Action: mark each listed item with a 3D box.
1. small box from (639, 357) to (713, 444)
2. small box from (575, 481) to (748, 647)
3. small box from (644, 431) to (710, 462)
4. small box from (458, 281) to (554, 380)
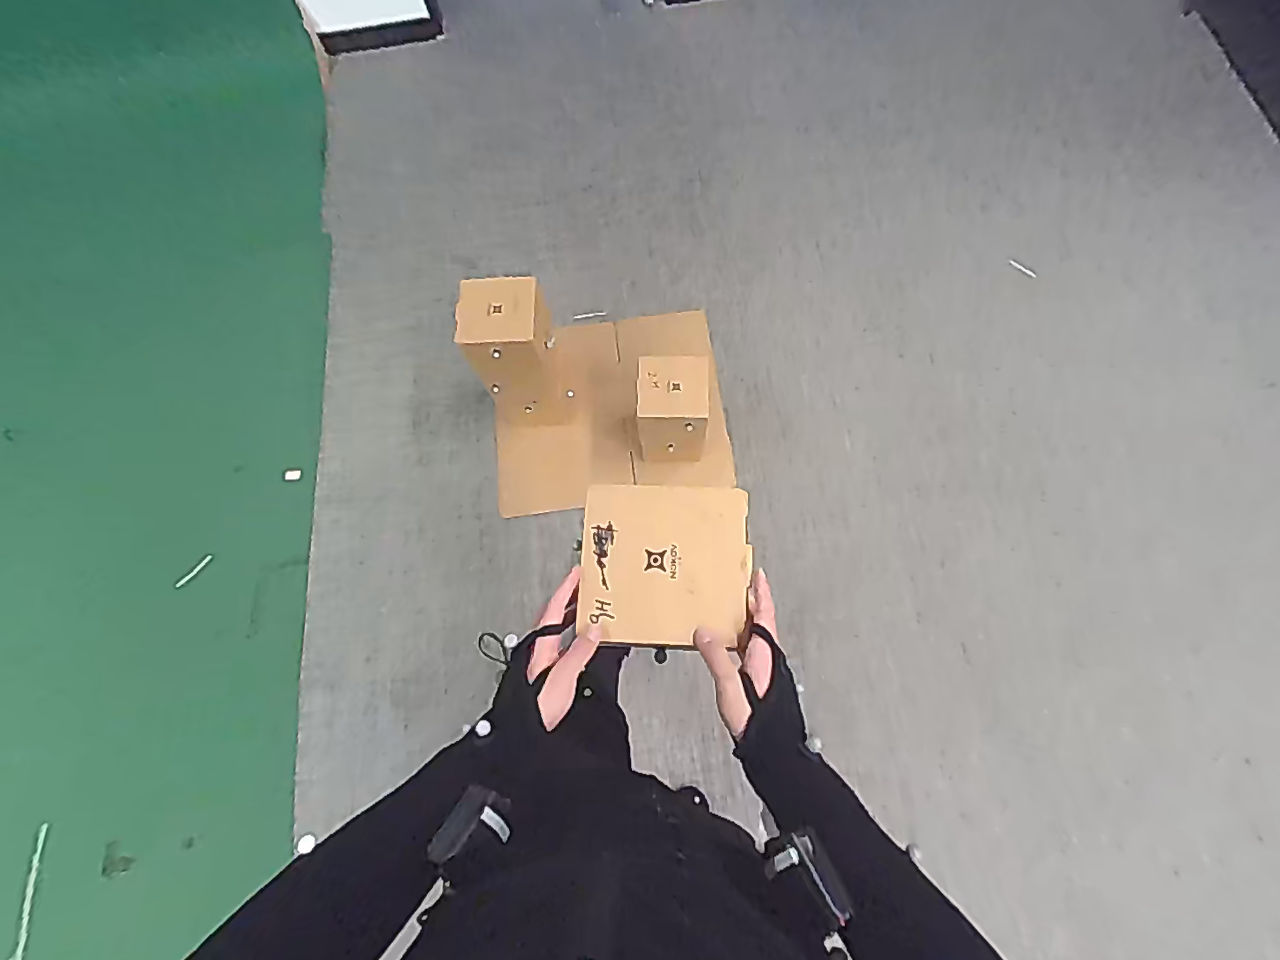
[{"bbox_3d":[0.092,-0.198,1.380,0.179,0.176,0.168,1,72,5],"label":"small box"},{"bbox_3d":[0.028,0.108,0.642,0.179,0.176,0.168,3,71,3],"label":"small box"},{"bbox_3d":[0.101,-0.156,1.540,0.179,0.176,0.168,-3,72,3],"label":"small box"},{"bbox_3d":[-0.310,-0.348,1.280,0.179,0.176,0.168,-2,73,3],"label":"small box"}]
